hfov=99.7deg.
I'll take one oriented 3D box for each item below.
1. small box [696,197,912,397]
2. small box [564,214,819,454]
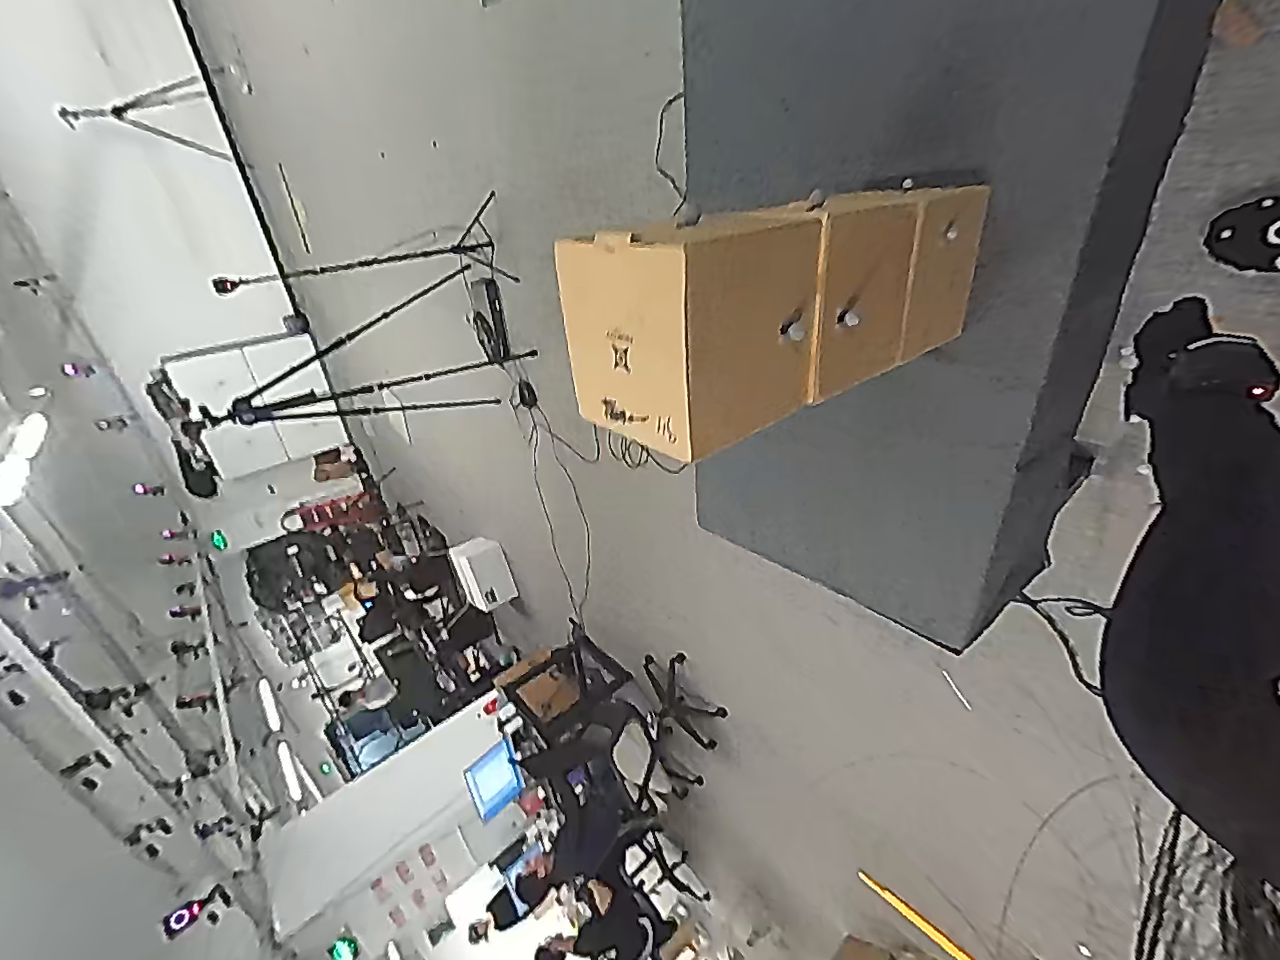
[{"bbox_3d":[0.177,-0.212,0.601,0.168,0.176,0.179,26,131,44],"label":"small box"},{"bbox_3d":[0.050,-0.152,0.517,0.168,0.176,0.179,28,132,43],"label":"small box"}]
